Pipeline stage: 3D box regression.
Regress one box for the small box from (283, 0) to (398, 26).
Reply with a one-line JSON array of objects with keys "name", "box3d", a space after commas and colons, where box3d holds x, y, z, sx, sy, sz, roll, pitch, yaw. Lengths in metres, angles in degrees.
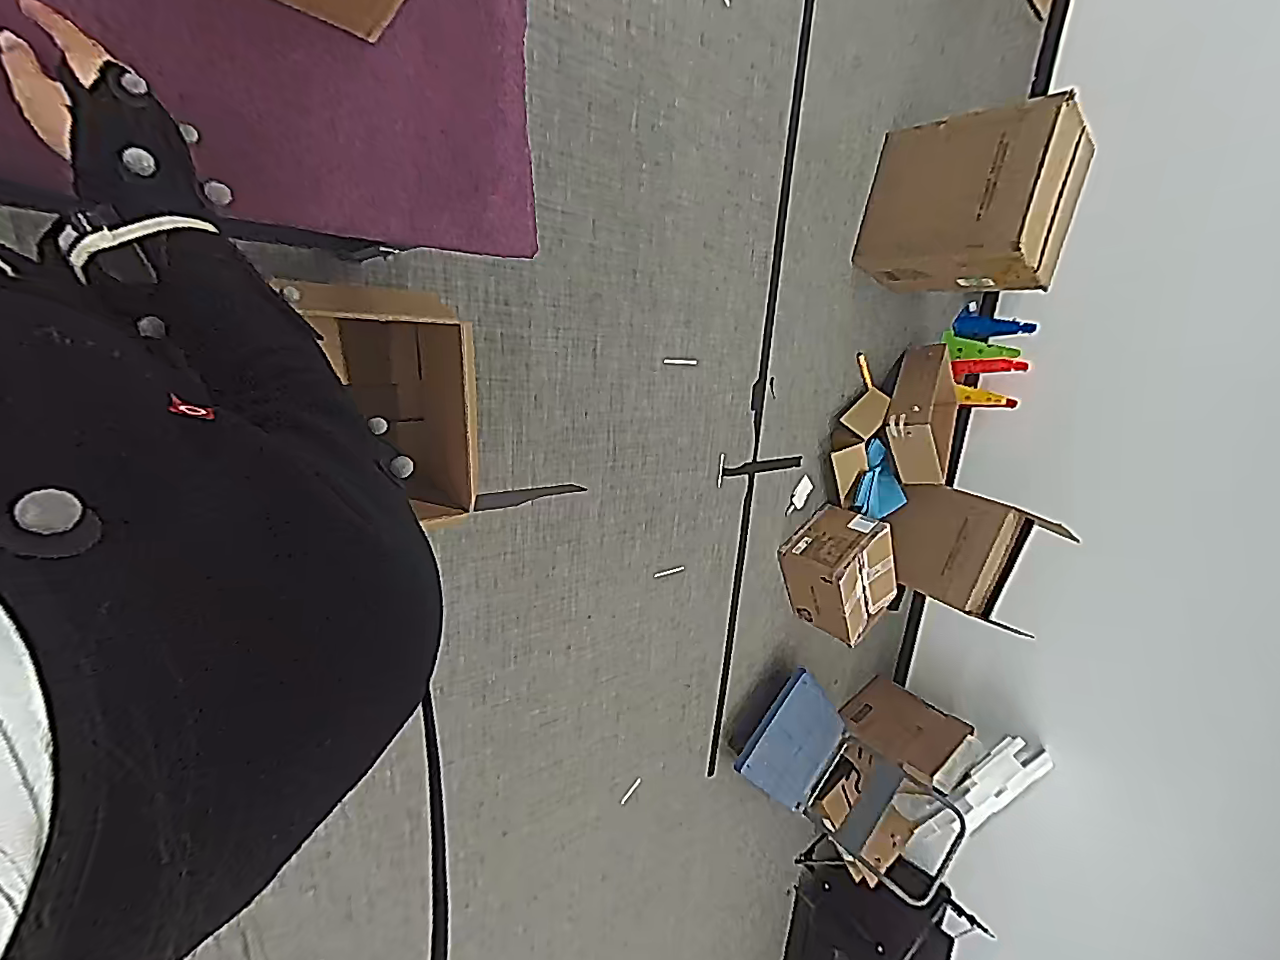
[{"name": "small box", "box3d": [-0.261, -0.482, 0.395, 0.179, 0.176, 0.168, -1, 105, -39]}]
